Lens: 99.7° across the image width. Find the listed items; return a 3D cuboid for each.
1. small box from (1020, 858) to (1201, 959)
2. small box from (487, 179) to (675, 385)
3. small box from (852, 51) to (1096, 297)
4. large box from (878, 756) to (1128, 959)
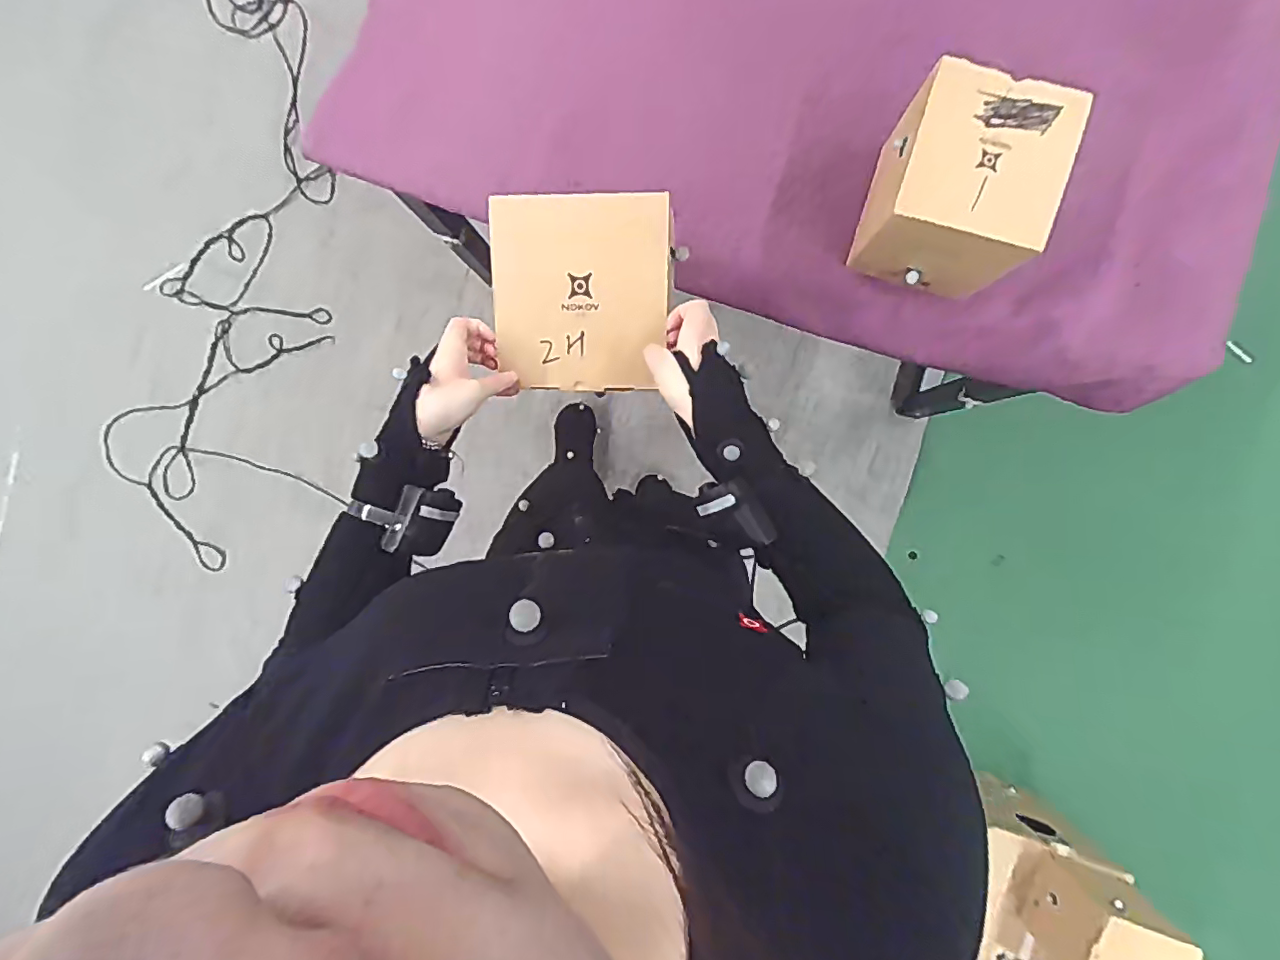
[{"bbox_3d":[0.899,0.888,1.051,0.179,0.176,0.168,19,93,3],"label":"small box"},{"bbox_3d":[-0.050,-0.195,0.567,0.168,0.176,0.179,3,104,5],"label":"small box"},{"bbox_3d":[0.376,-0.346,0.646,0.168,0.176,0.179,17,92,4],"label":"small box"},{"bbox_3d":[0.835,0.968,1.300,0.320,0.320,0.408,19,93,4],"label":"large box"}]
